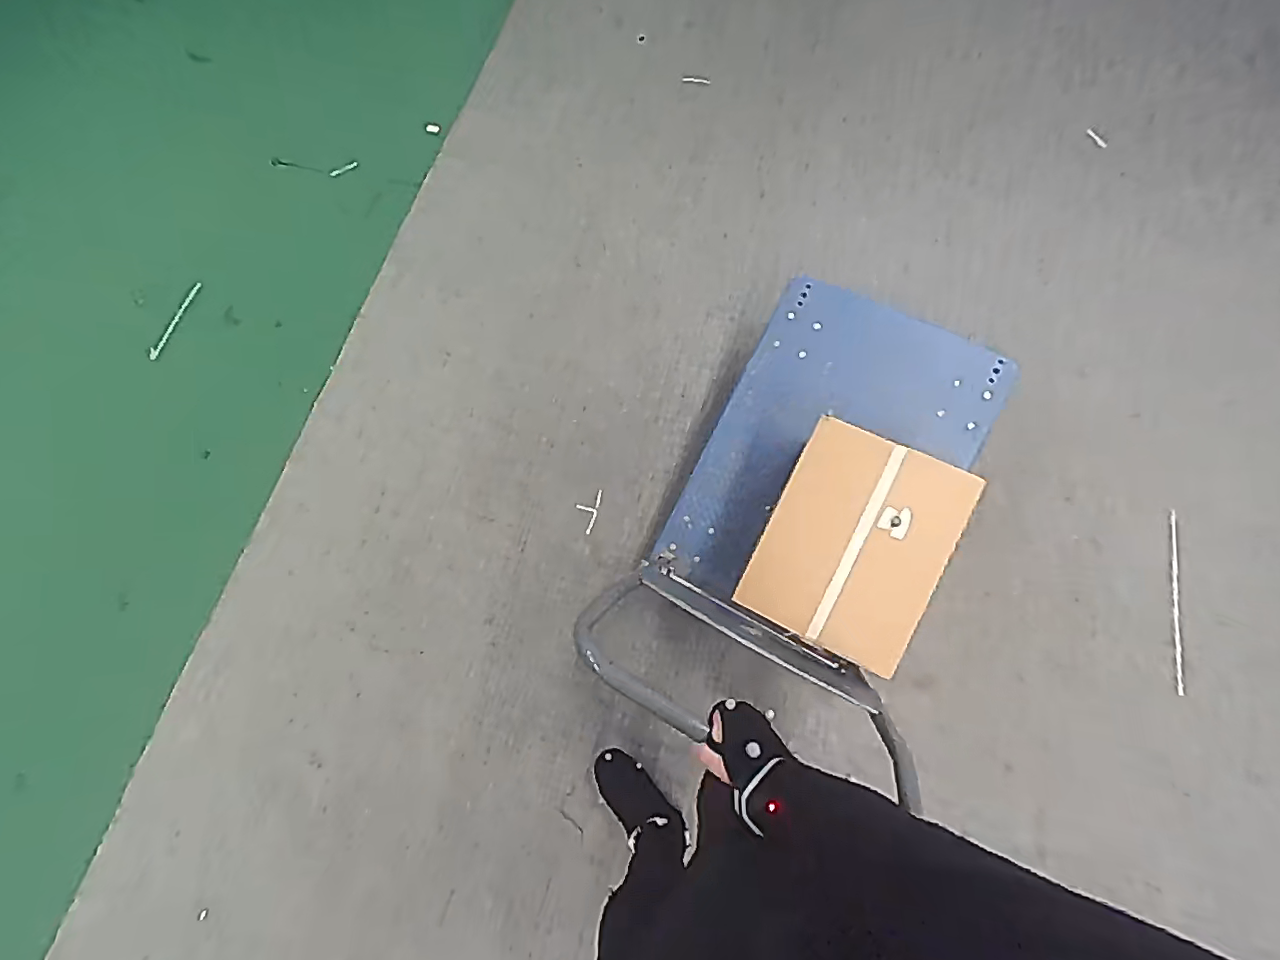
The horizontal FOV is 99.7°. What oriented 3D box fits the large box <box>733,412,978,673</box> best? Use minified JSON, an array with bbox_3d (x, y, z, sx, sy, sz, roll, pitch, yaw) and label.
[{"bbox_3d":[0.424,0.128,1.151,0.320,0.320,0.408,27,89,13],"label":"large box"}]
